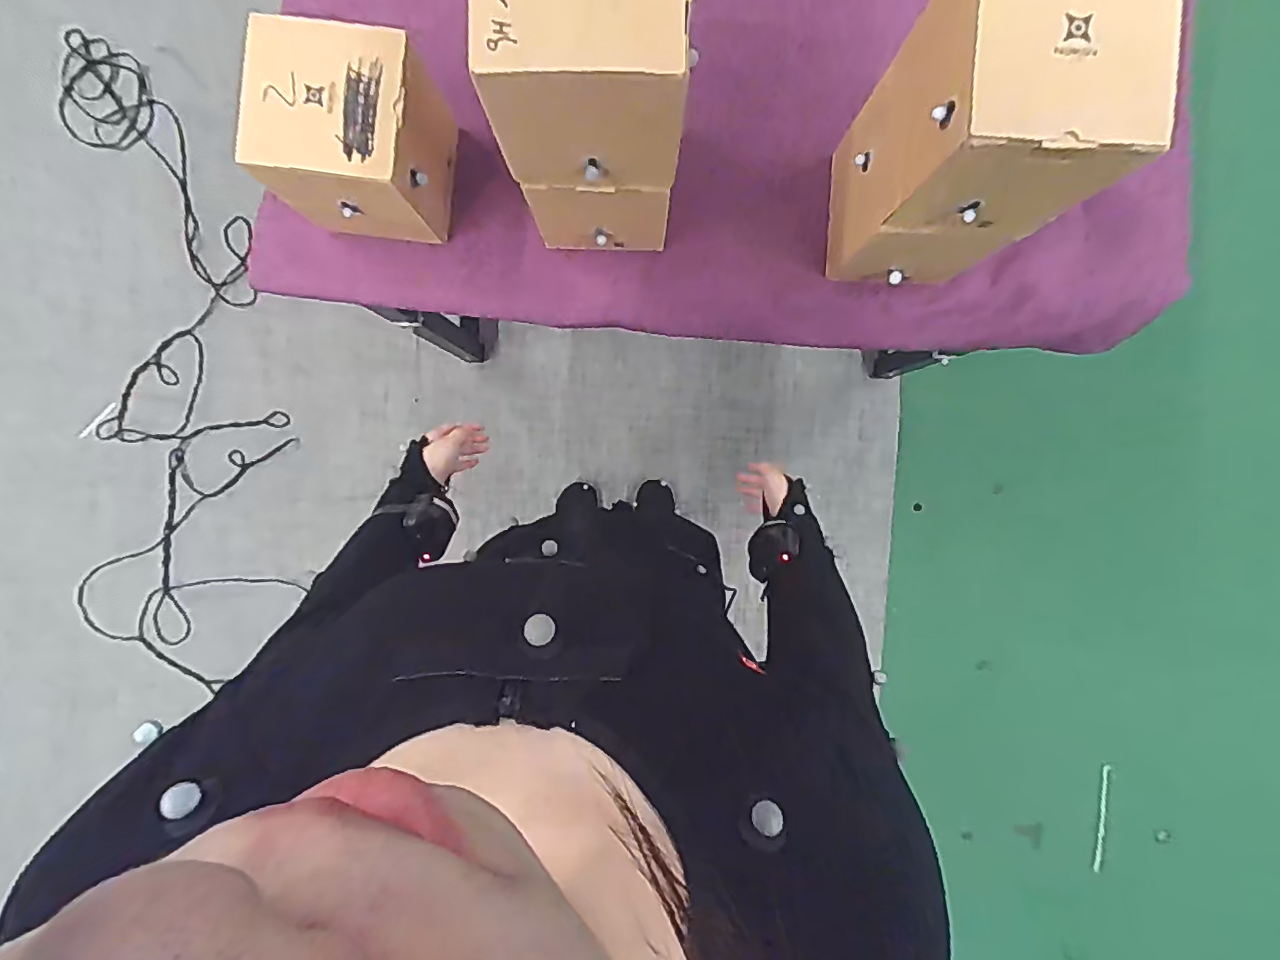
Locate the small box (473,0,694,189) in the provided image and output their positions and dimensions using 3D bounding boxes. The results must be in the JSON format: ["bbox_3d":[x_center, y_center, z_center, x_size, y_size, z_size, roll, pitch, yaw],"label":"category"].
[{"bbox_3d":[-0.047,-0.397,0.508,0.179,0.176,0.168,0,90,-1],"label":"small box"}]

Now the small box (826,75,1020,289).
[{"bbox_3d":[0.345,-0.358,0.678,0.168,0.176,0.179,2,92,0],"label":"small box"}]

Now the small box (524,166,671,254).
[{"bbox_3d":[-0.048,-0.403,0.671,0.168,0.176,0.179,1,91,0],"label":"small box"}]

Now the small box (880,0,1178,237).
[{"bbox_3d":[0.348,-0.357,0.516,0.168,0.176,0.179,2,92,0],"label":"small box"}]
